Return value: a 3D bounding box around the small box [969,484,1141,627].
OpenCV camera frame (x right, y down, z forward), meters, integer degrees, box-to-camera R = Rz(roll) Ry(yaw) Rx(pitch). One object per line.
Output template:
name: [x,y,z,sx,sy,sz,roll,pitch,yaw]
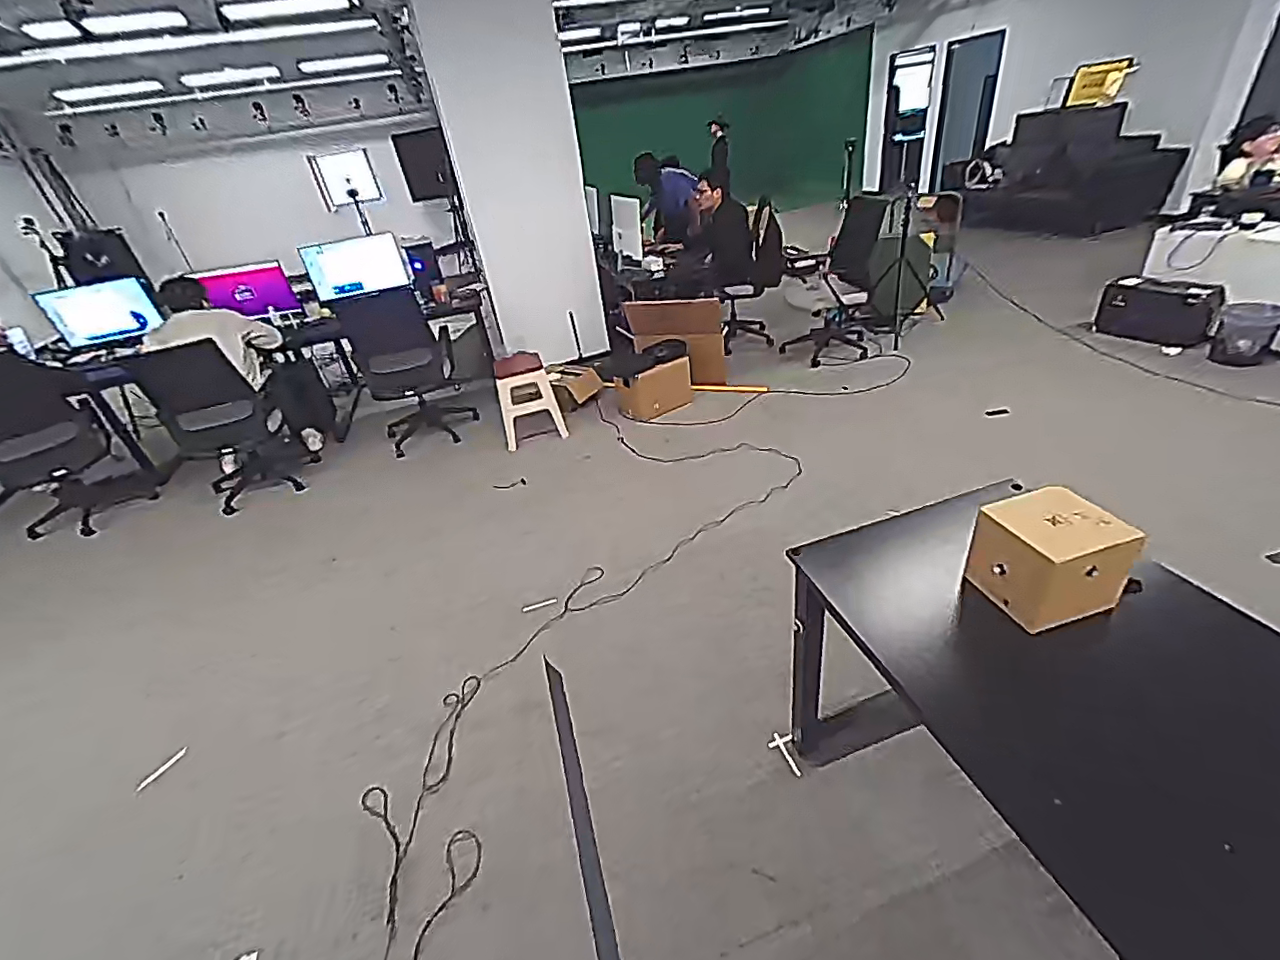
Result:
small box: [0.727,0.136,0.973,0.179,0.176,0.168,-14,33,-8]
